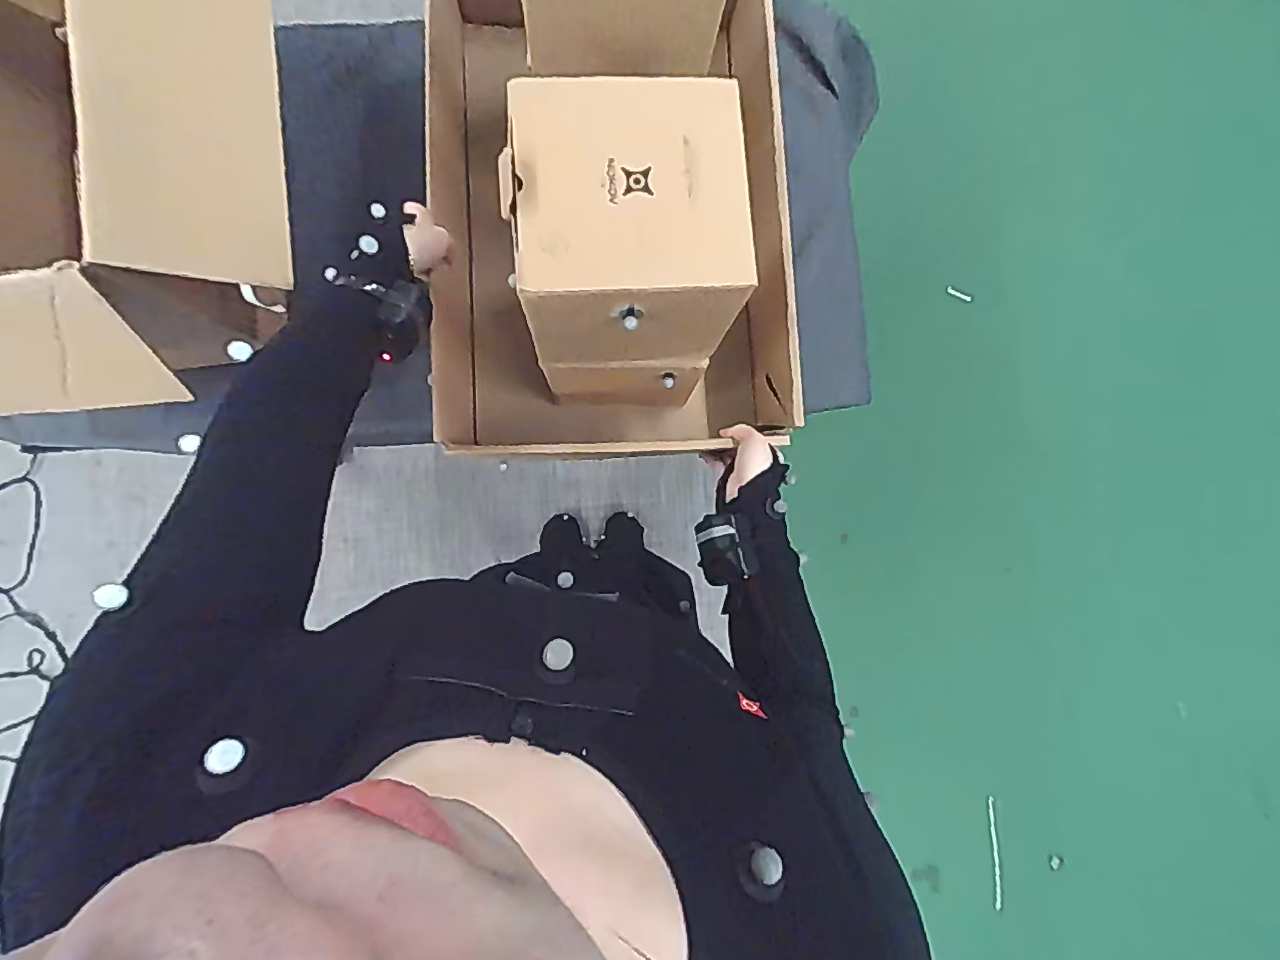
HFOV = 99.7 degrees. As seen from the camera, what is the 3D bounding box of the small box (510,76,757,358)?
[{"bbox_3d":[-0.011,-0.212,0.477,0.179,0.176,0.168,-4,85,-6],"label":"small box"}]
